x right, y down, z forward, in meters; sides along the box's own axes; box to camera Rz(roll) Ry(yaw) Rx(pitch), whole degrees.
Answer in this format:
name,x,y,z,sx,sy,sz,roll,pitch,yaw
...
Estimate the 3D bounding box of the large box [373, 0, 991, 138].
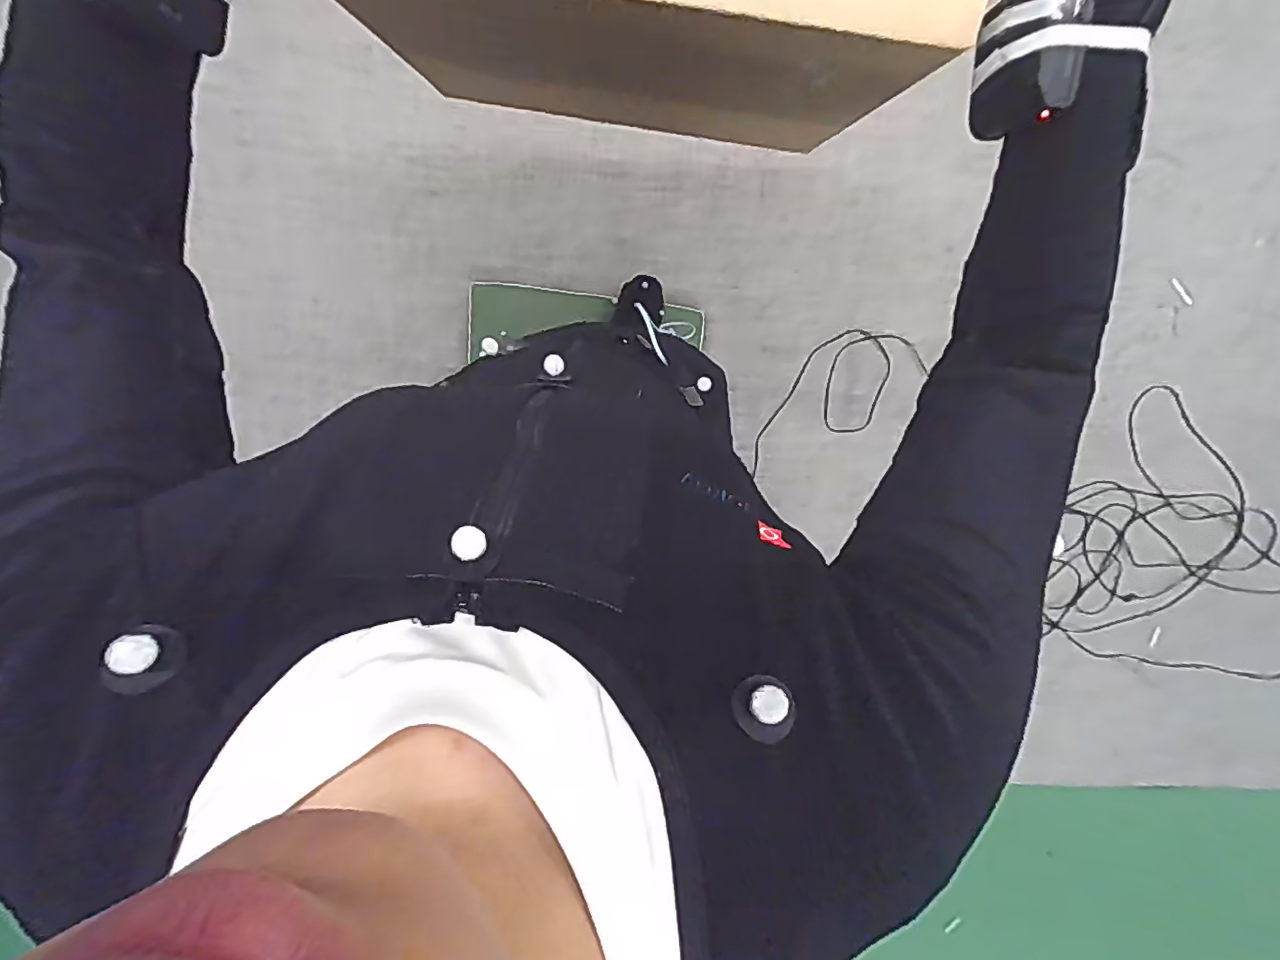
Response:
name,x,y,z,sx,sy,sz,roll,pitch,yaw
large box,0.018,-0.479,0.391,0.408,0.320,0.320,6,112,-4
